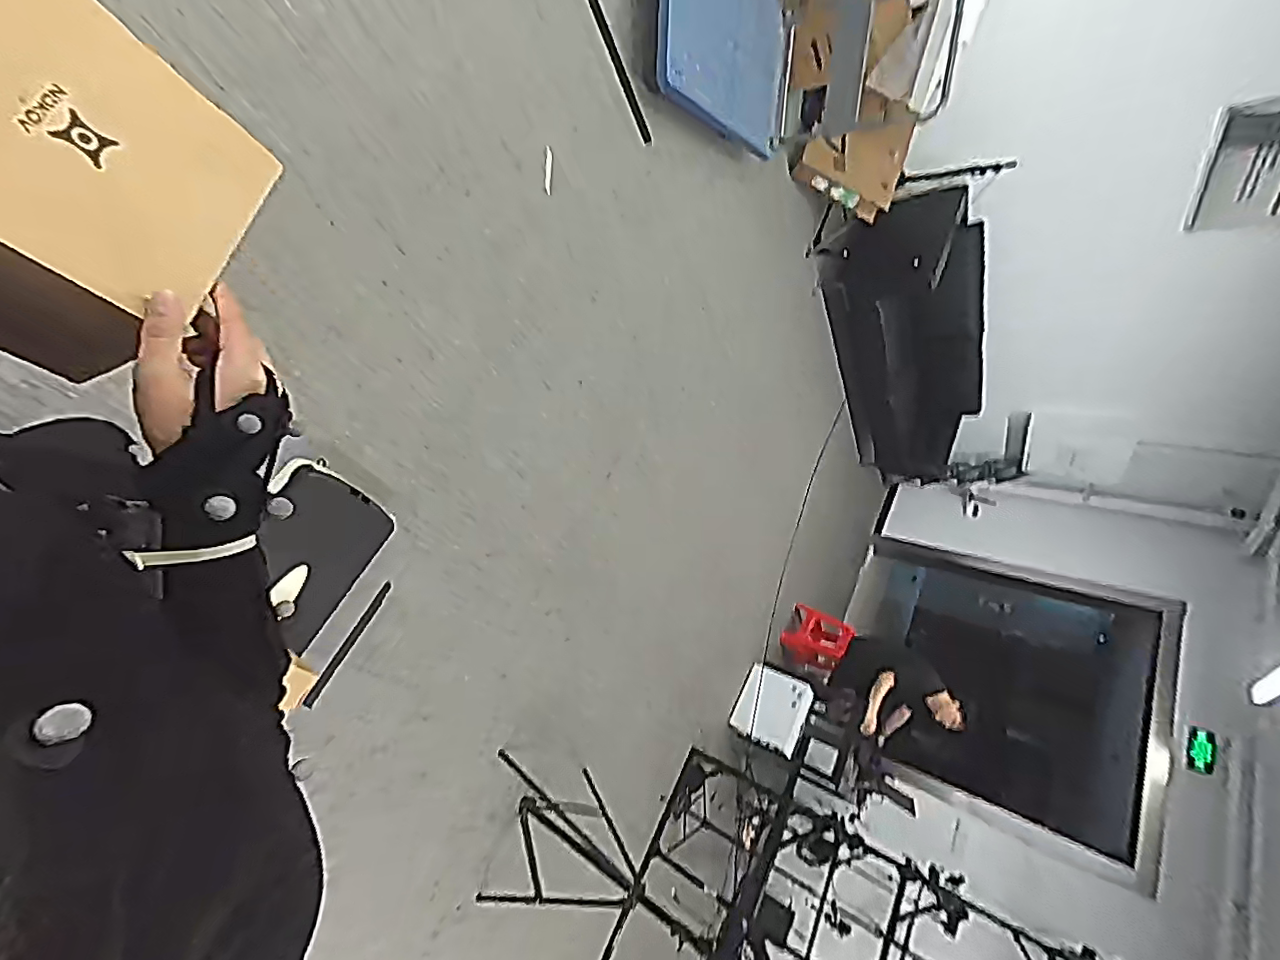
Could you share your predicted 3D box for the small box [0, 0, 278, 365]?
[{"bbox_3d":[-0.387,-0.190,0.340,0.179,0.176,0.168,40,52,-51],"label":"small box"}]
